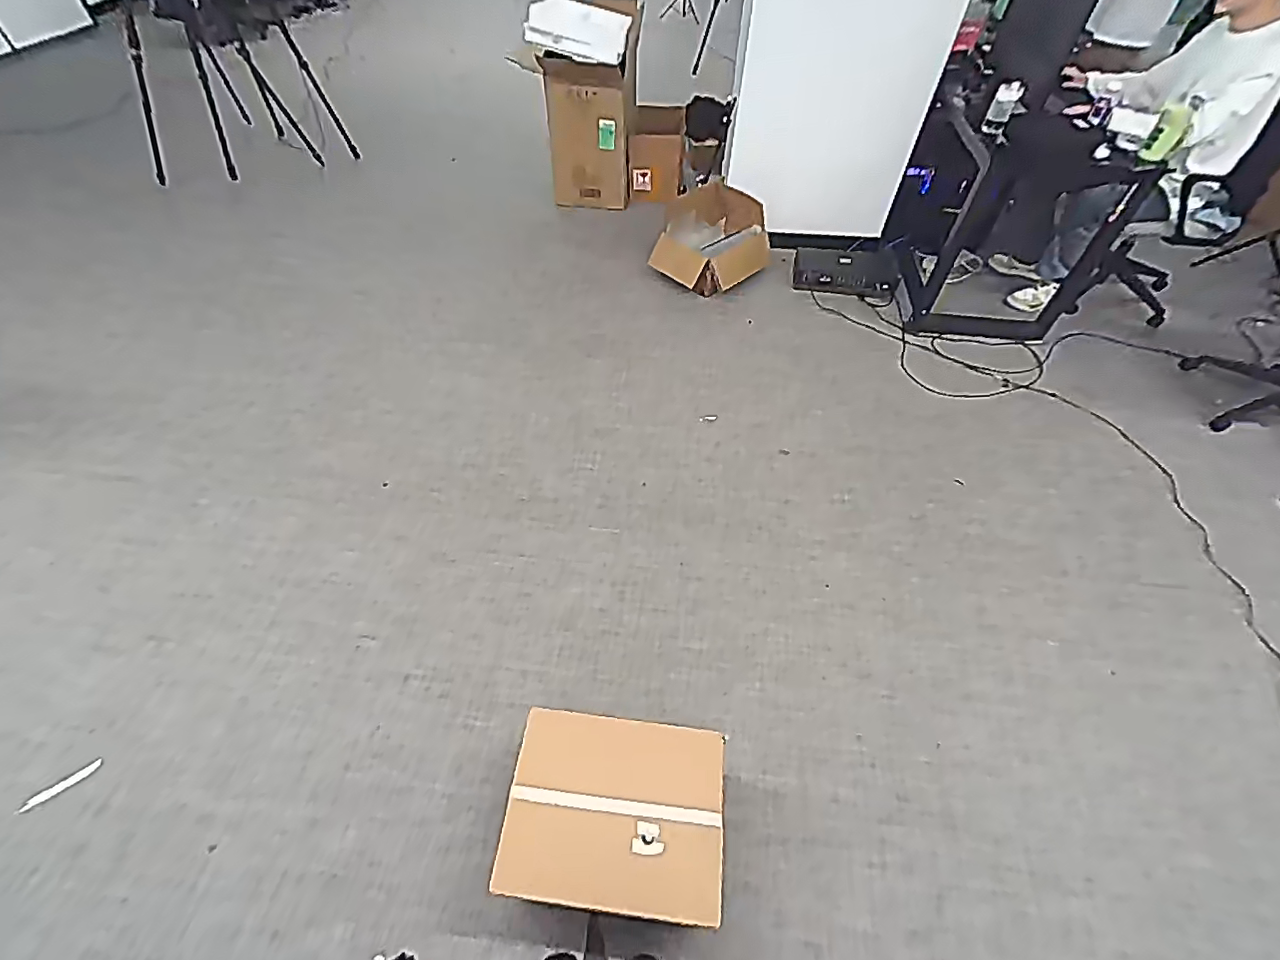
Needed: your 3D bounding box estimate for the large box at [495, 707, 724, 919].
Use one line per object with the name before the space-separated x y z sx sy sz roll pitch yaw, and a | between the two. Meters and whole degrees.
large box | -0.048 0.705 1.140 0.408 0.320 0.320 7 52 3
